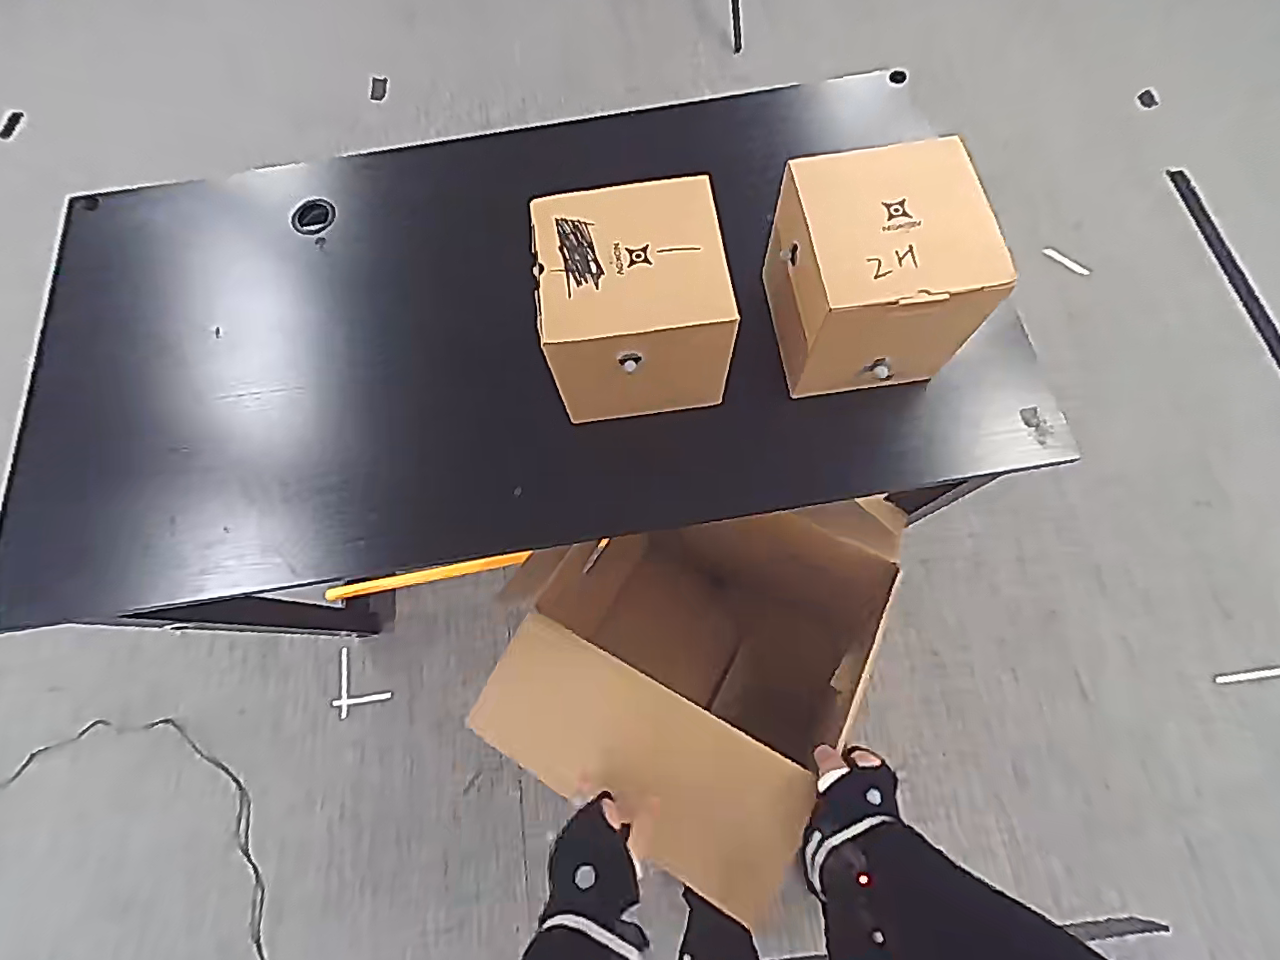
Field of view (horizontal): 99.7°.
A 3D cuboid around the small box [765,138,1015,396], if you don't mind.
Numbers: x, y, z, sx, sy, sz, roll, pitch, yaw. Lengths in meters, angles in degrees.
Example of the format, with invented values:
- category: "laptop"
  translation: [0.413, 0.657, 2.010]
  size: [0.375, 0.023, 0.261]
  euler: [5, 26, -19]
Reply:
- category: "small box"
  translation: [0.235, -0.210, 0.565]
  size: [0.168, 0.176, 0.179]
  euler: [-8, 72, 2]

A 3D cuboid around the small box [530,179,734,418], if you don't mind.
- category: "small box"
  translation: [-0.008, -0.176, 0.568]
  size: [0.179, 0.176, 0.168]
  euler: [-7, 72, 0]
